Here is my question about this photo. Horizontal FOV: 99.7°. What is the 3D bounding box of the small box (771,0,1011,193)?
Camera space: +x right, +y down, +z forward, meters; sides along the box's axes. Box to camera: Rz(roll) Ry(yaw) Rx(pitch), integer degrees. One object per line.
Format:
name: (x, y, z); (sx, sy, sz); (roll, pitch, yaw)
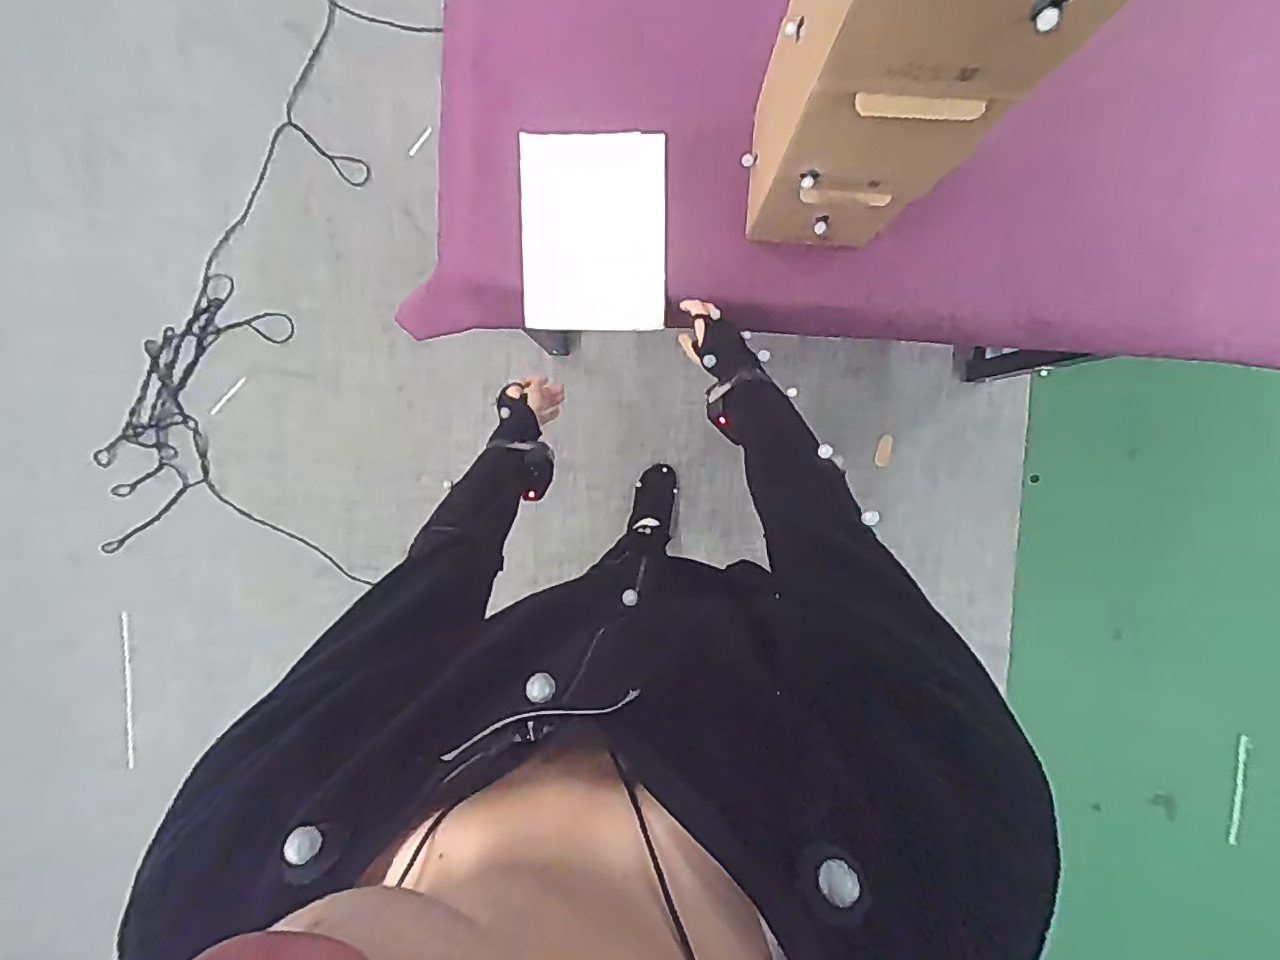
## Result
small box: (0.225, -0.396, 0.505); (0.168, 0.176, 0.179); (4, 92, 1)

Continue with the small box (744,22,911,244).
small box: (0.228, -0.410, 0.670); (0.168, 0.176, 0.179); (4, 94, 0)

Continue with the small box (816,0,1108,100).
small box: (0.221, -0.383, 0.343); (0.168, 0.176, 0.179); (5, 92, 0)
